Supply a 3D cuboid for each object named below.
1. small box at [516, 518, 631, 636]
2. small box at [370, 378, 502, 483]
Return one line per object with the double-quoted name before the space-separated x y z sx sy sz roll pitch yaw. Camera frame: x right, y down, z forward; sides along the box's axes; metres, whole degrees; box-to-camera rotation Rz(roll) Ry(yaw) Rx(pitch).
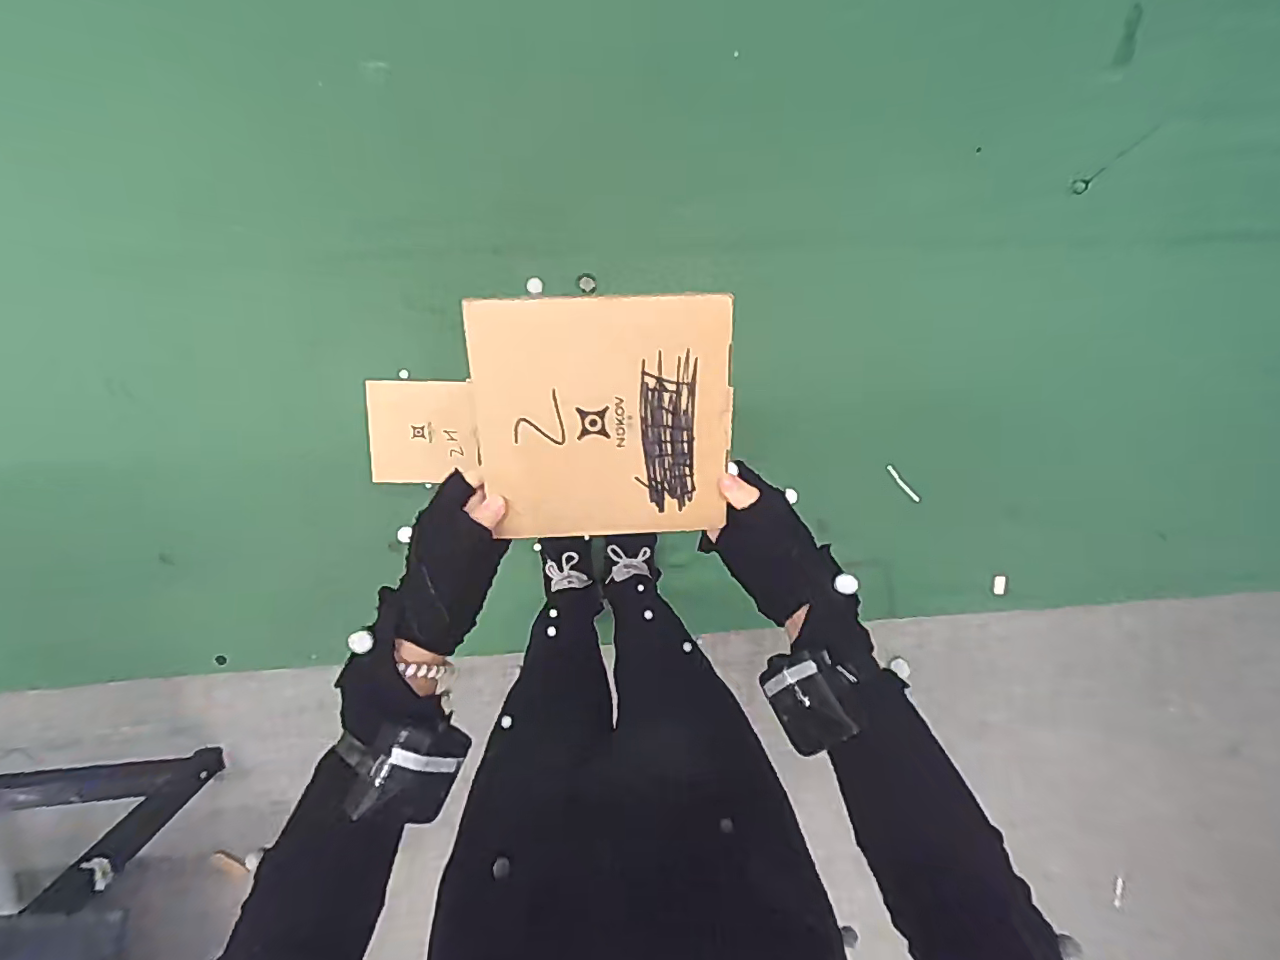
"small box" -0.150 0.209 1.196 0.179 0.176 0.168 34 105 10
"small box" -0.349 -0.090 0.951 0.179 0.176 0.168 1 99 -4
